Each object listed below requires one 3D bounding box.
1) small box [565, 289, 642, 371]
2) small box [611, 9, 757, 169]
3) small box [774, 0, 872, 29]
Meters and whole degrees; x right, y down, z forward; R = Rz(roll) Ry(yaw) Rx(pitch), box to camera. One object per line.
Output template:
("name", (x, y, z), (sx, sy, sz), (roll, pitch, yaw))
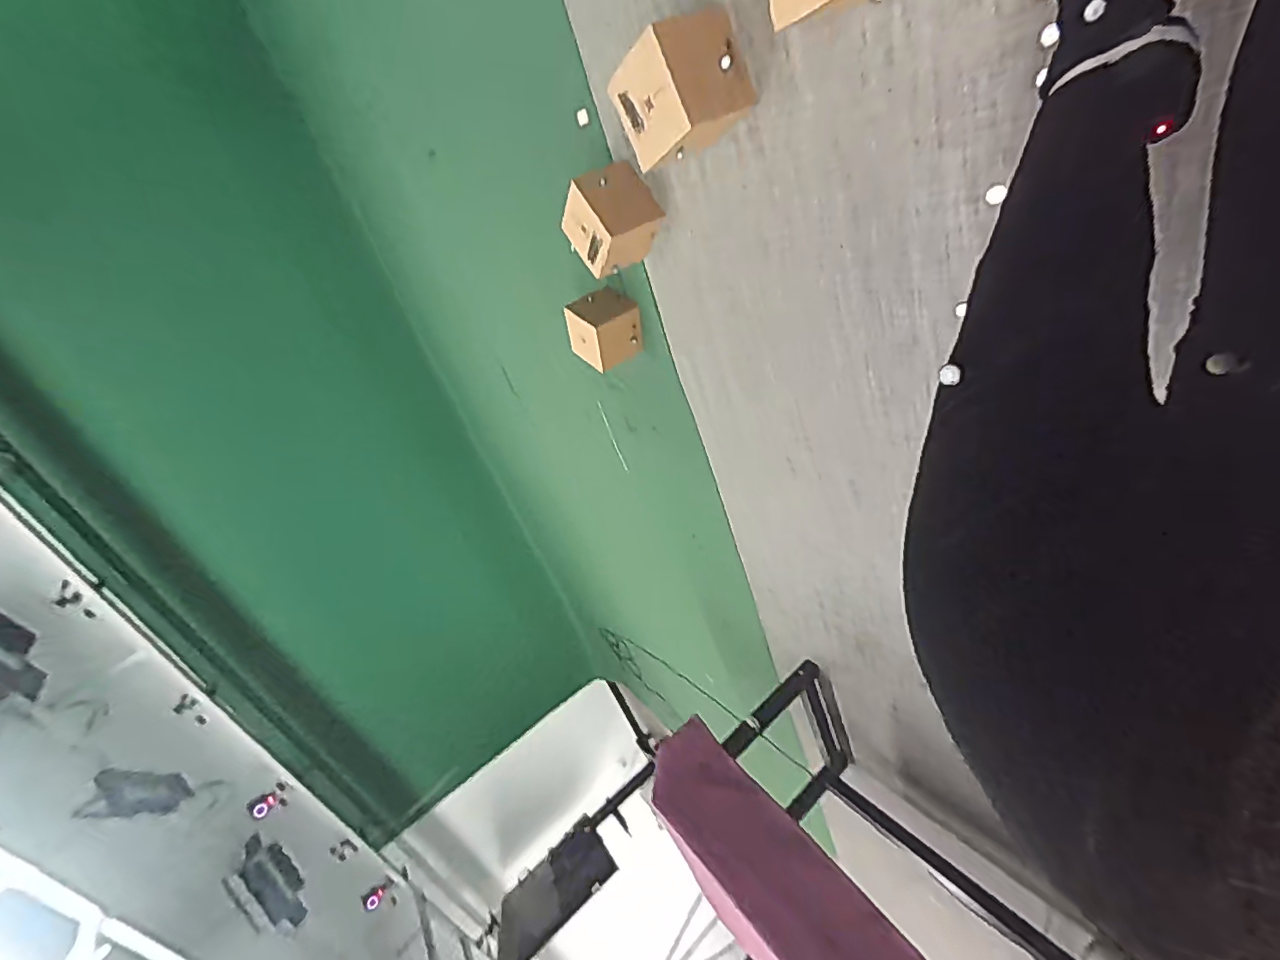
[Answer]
("small box", (-0.111, -0.480, 1.700), (0.179, 0.176, 0.168), (41, 153, 33))
("small box", (0.081, -0.713, 0.995), (0.179, 0.176, 0.168), (6, 125, 61))
("small box", (0.270, -0.687, 0.646), (0.179, 0.176, 0.168), (24, 140, 53))
